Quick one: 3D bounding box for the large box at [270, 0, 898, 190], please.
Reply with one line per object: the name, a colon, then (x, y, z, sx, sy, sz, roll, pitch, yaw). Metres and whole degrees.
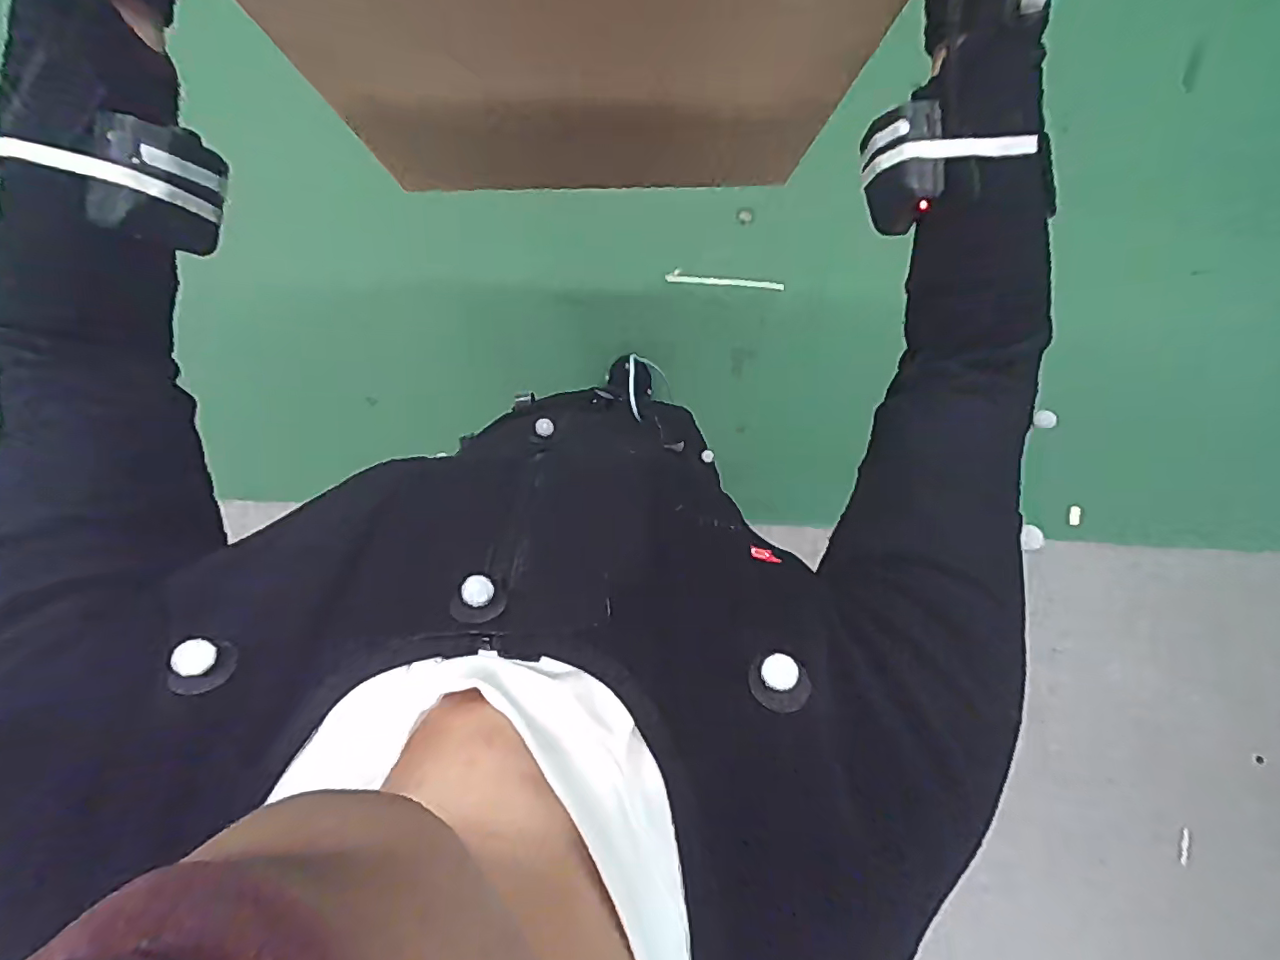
large box: (-0.042, -0.452, 0.415, 0.408, 0.320, 0.320, -3, 95, -3)
